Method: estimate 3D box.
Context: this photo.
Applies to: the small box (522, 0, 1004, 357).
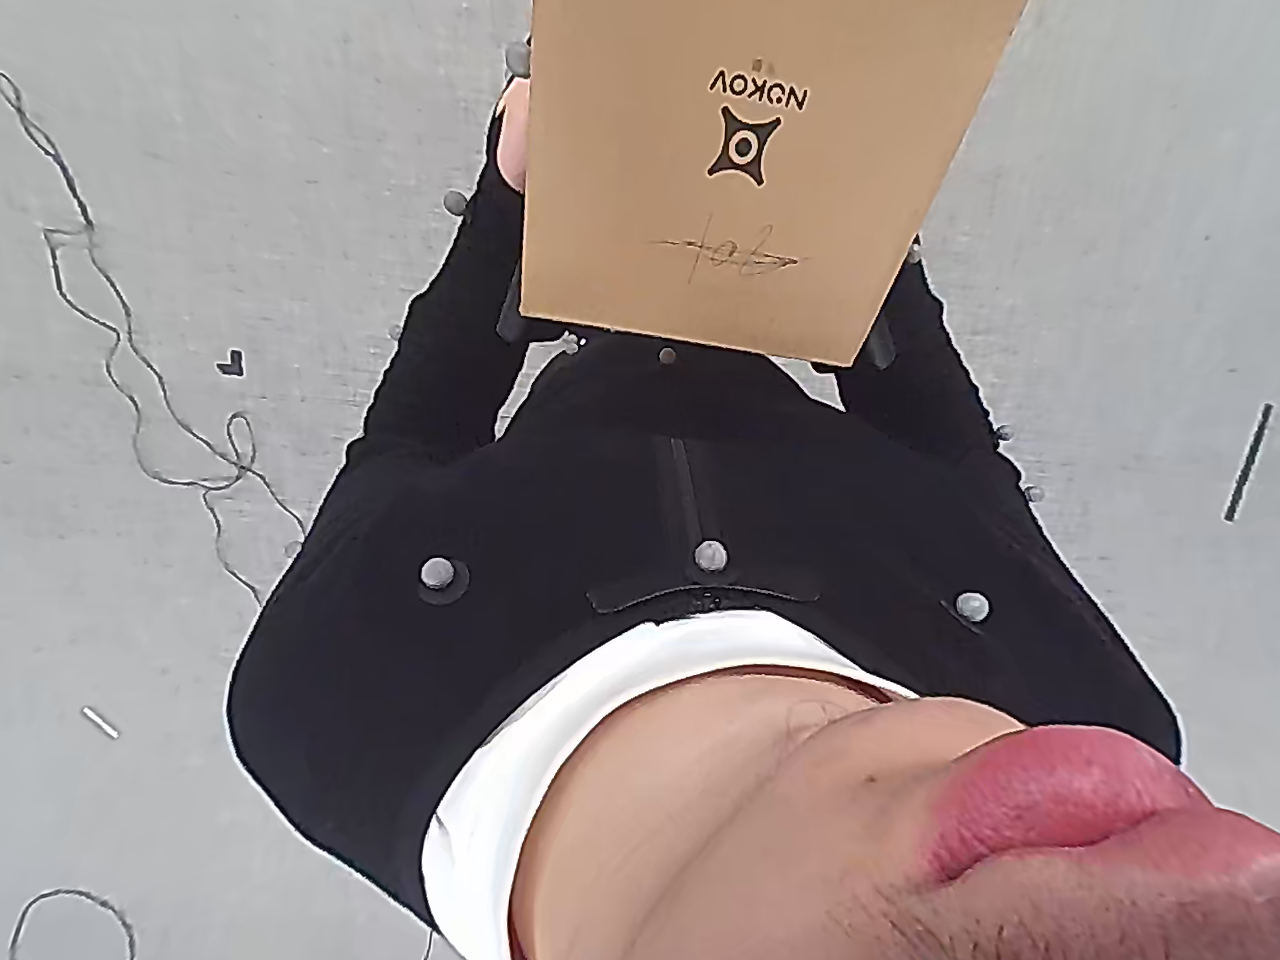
[{"bbox_3d":[0.038,-0.192,0.279,0.168,0.176,0.179,8,130,-7],"label":"small box"}]
